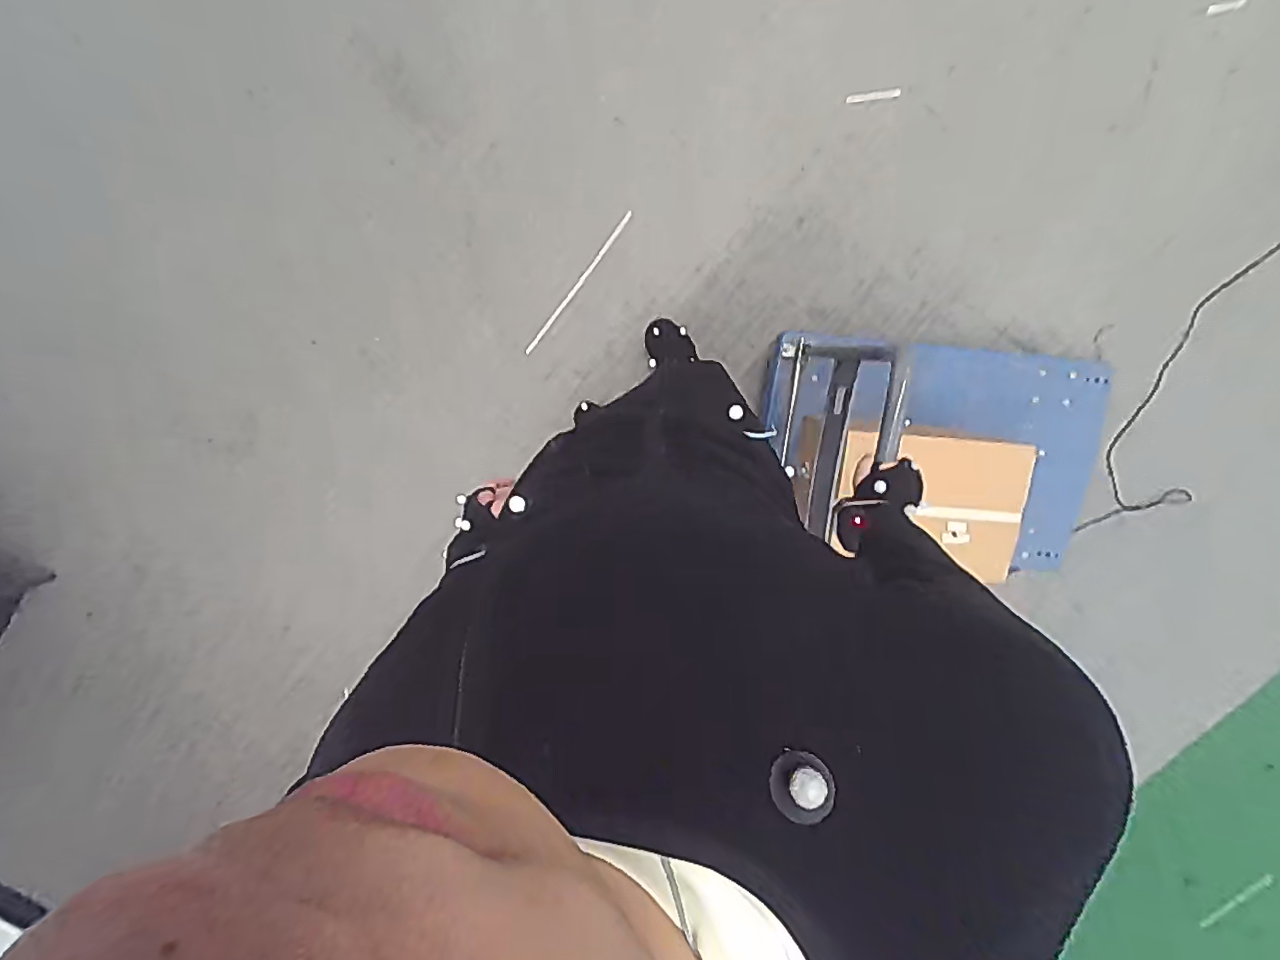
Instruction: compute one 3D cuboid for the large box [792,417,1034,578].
[{"bbox_3d":[0.619,0.025,1.308,0.408,0.320,0.320,5,104,-1],"label":"large box"}]
